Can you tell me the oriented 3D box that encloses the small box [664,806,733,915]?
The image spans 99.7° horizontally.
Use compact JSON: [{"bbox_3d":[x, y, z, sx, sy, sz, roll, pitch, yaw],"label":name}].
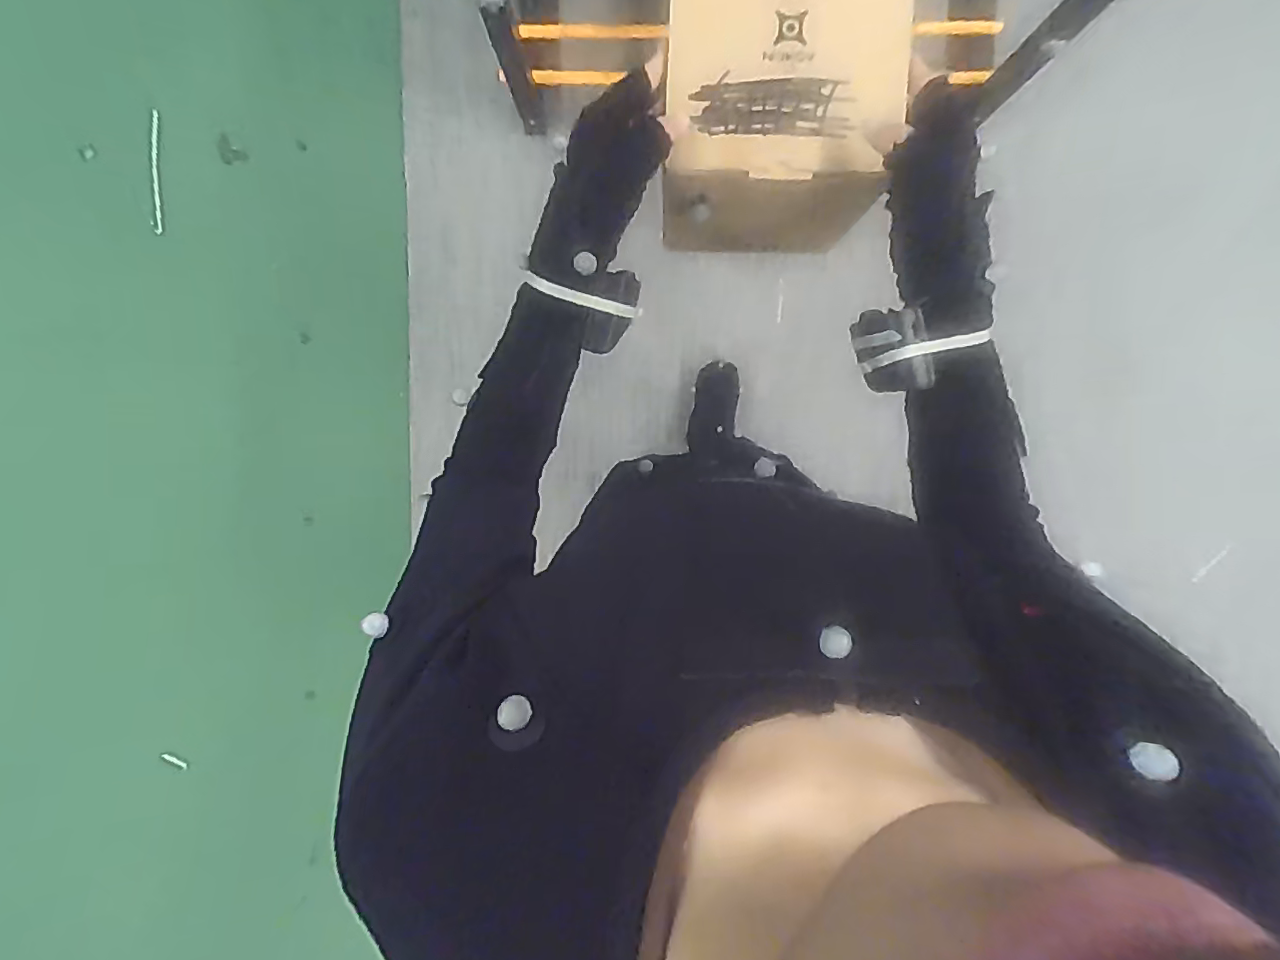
[{"bbox_3d":[0.154,1.019,1.457,0.168,0.176,0.179,-2,92,-2],"label":"small box"}]
